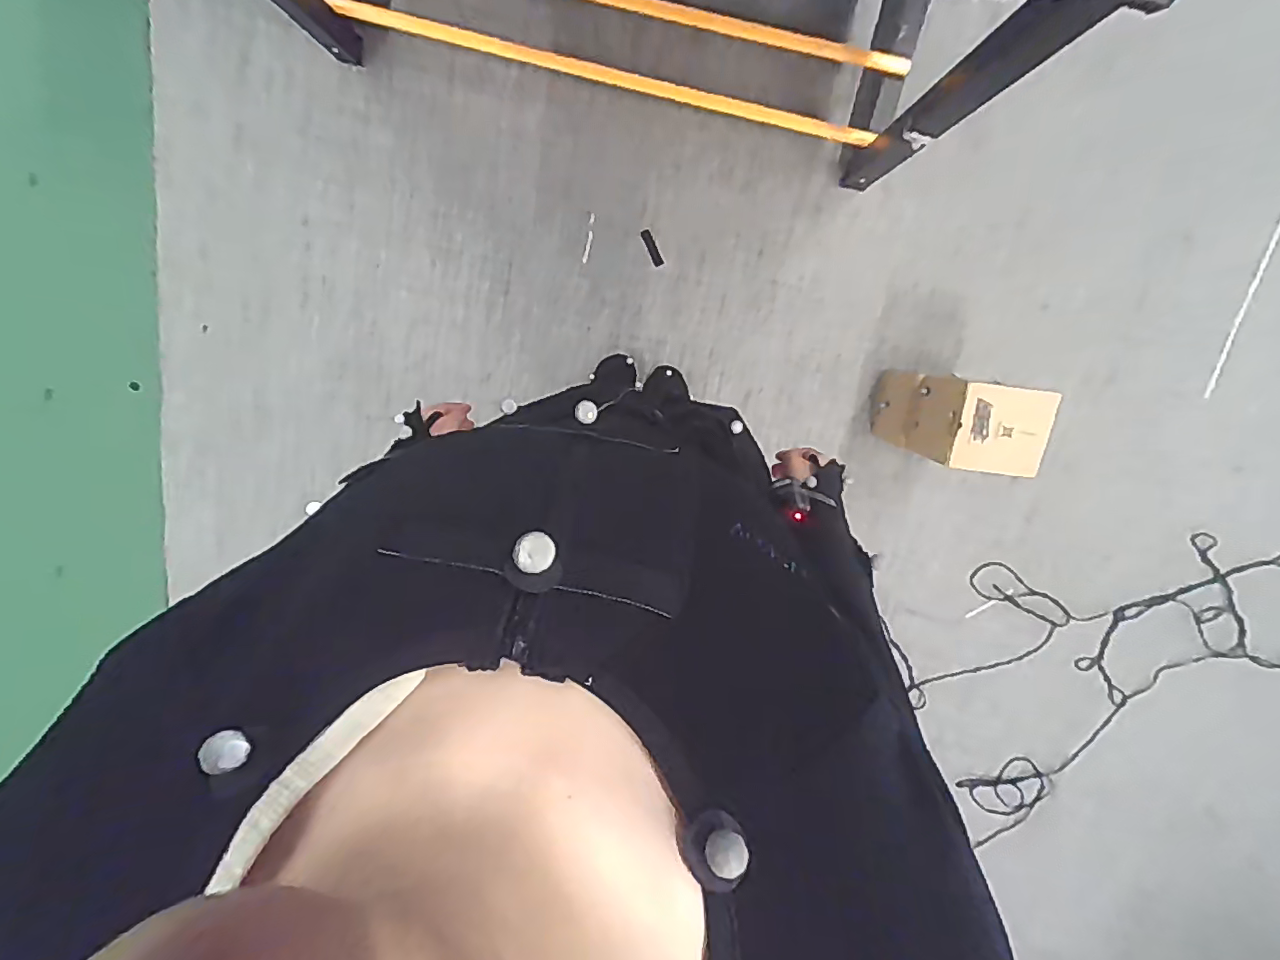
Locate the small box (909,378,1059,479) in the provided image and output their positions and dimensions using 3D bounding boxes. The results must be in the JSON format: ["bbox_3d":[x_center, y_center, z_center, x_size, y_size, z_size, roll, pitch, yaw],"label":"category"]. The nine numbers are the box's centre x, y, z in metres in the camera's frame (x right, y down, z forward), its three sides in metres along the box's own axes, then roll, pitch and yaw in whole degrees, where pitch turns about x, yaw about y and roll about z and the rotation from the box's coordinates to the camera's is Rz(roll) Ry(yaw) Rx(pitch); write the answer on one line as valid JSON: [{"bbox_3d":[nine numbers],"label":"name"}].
[{"bbox_3d":[0.674,-0.110,1.084,0.179,0.176,0.168,7,105,-2],"label":"small box"}]

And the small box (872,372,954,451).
[{"bbox_3d":[0.665,-0.155,1.243,0.179,0.176,0.168,6,104,0],"label":"small box"}]
